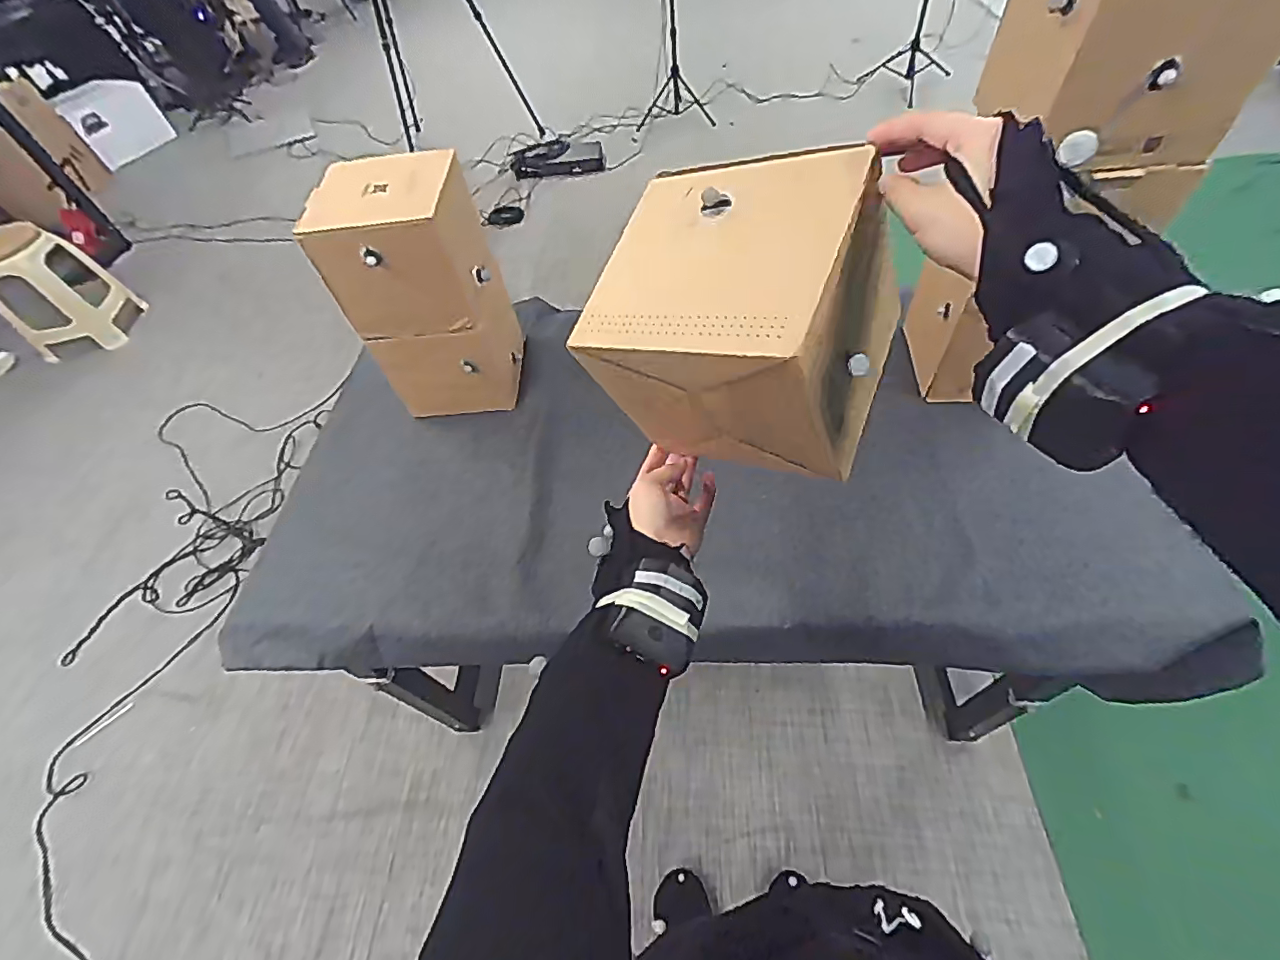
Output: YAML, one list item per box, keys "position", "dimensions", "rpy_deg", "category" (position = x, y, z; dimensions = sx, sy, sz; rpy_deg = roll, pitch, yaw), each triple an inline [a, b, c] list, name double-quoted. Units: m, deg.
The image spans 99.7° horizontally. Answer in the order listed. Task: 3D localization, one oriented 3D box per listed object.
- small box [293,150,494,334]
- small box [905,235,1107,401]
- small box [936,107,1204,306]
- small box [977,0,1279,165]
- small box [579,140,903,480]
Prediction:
- position: [-0.318, -0.317, 0.740]
  dimensions: [0.179, 0.176, 0.168]
  rpy_deg: [-4, 57, 3]
  category: "small box"
- position: [0.499, -0.234, 0.774]
  dimensions: [0.168, 0.176, 0.179]
  rpy_deg: [0, 56, 8]
  category: "small box"
- position: [0.477, -0.322, 0.638]
  dimensions: [0.168, 0.176, 0.179]
  rpy_deg: [1, 57, 8]
  category: "small box"
- position: [0.452, -0.416, 0.504]
  dimensions: [0.168, 0.176, 0.179]
  rpy_deg: [-1, 55, 7]
  category: "small box"
- position: [0.083, -0.119, 0.423]
  dimensions: [0.179, 0.168, 0.176]
  rpy_deg: [14, 72, 36]
  category: "small box"
